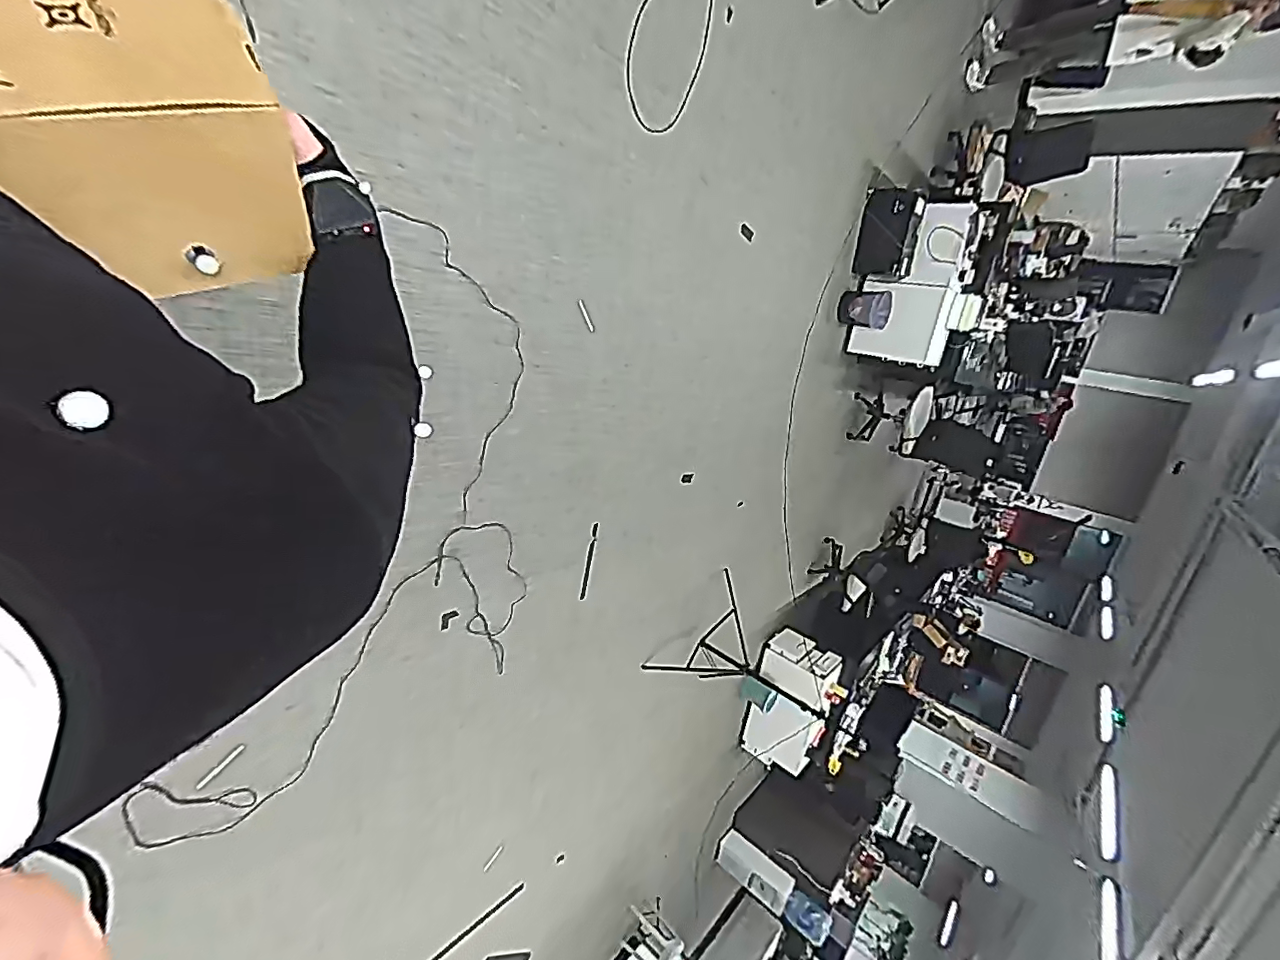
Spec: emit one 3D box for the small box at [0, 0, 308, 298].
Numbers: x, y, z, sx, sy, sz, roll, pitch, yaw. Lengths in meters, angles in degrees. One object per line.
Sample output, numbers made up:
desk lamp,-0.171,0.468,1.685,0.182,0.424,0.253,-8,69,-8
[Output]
small box,-0.398,-0.279,0.442,0.179,0.168,0.176,-26,170,-29
